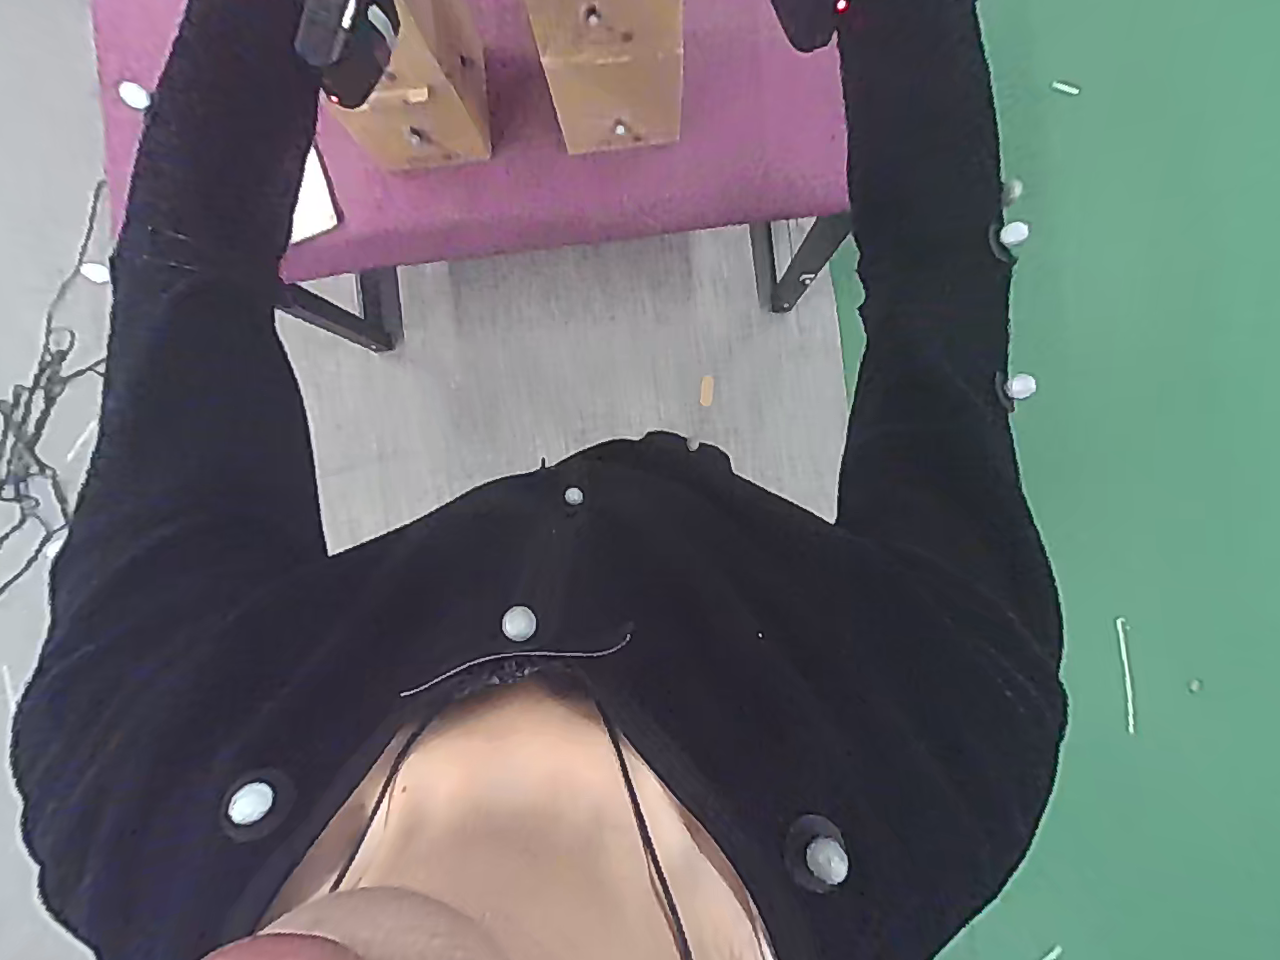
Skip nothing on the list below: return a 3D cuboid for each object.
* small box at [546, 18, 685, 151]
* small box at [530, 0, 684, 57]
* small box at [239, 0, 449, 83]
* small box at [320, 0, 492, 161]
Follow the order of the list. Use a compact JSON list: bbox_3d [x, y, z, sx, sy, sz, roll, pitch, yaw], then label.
[{"bbox_3d":[-0.031,-0.577,0.714,0.168,0.176,0.179,-5,89,3],"label":"small box"},{"bbox_3d":[-0.040,-0.585,0.551,0.168,0.176,0.179,-5,89,1],"label":"small box"},{"bbox_3d":[-0.311,-0.551,0.561,0.168,0.176,0.179,-5,89,2],"label":"small box"},{"bbox_3d":[-0.306,-0.557,0.726,0.168,0.176,0.179,-5,91,2],"label":"small box"}]
